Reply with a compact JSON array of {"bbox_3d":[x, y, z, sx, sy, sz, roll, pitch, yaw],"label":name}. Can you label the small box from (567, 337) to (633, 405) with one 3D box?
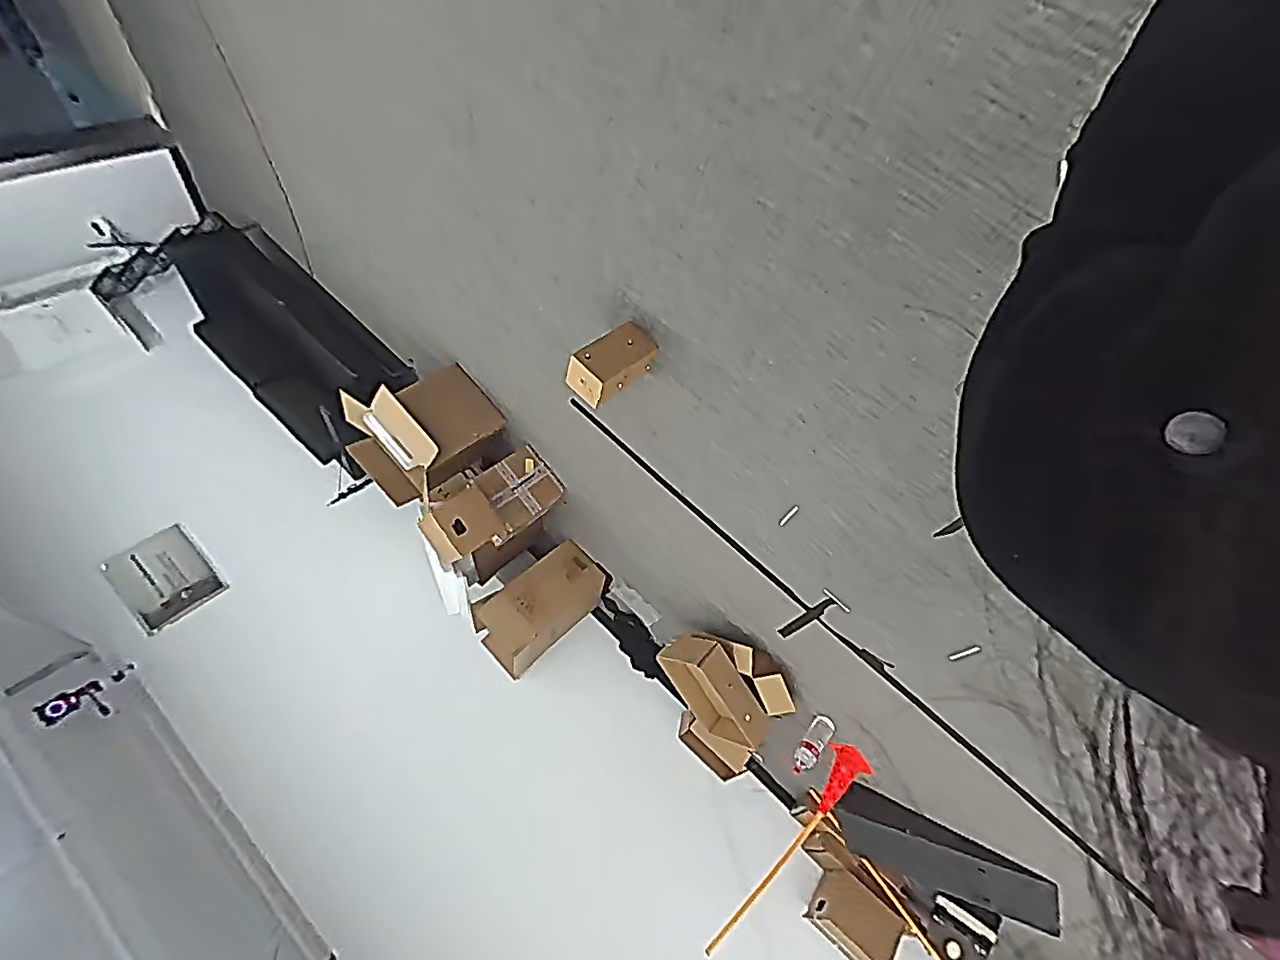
[{"bbox_3d":[-0.158,-0.437,2.129,0.179,0.176,0.168,43,149,10],"label":"small box"}]
